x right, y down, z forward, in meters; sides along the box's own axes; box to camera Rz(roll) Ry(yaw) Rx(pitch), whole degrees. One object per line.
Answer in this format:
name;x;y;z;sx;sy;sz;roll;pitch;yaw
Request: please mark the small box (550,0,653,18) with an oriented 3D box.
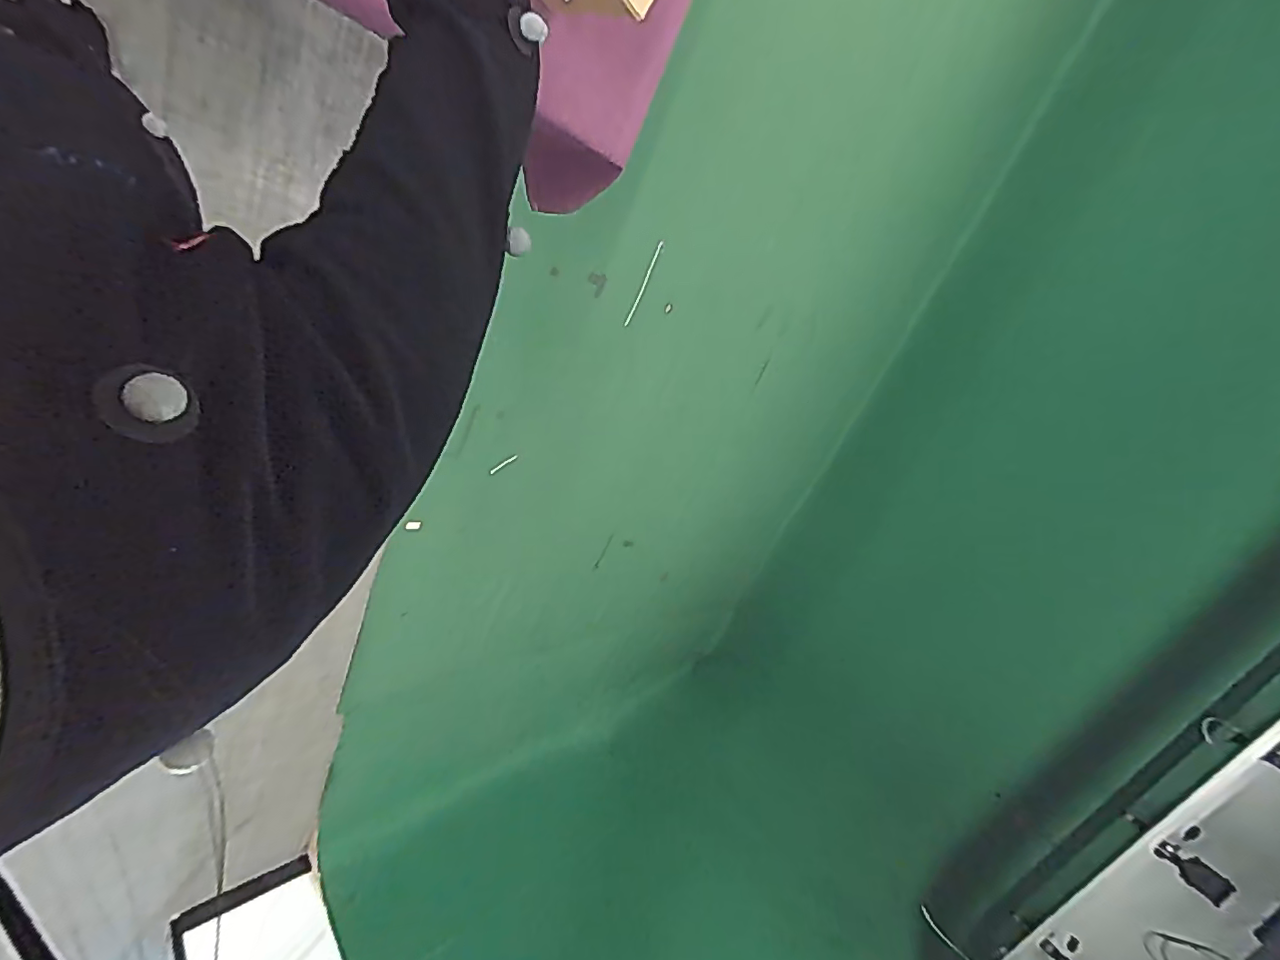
small box;-0.051;-0.607;0.529;0.168;0.176;0.179;16;109;-54
